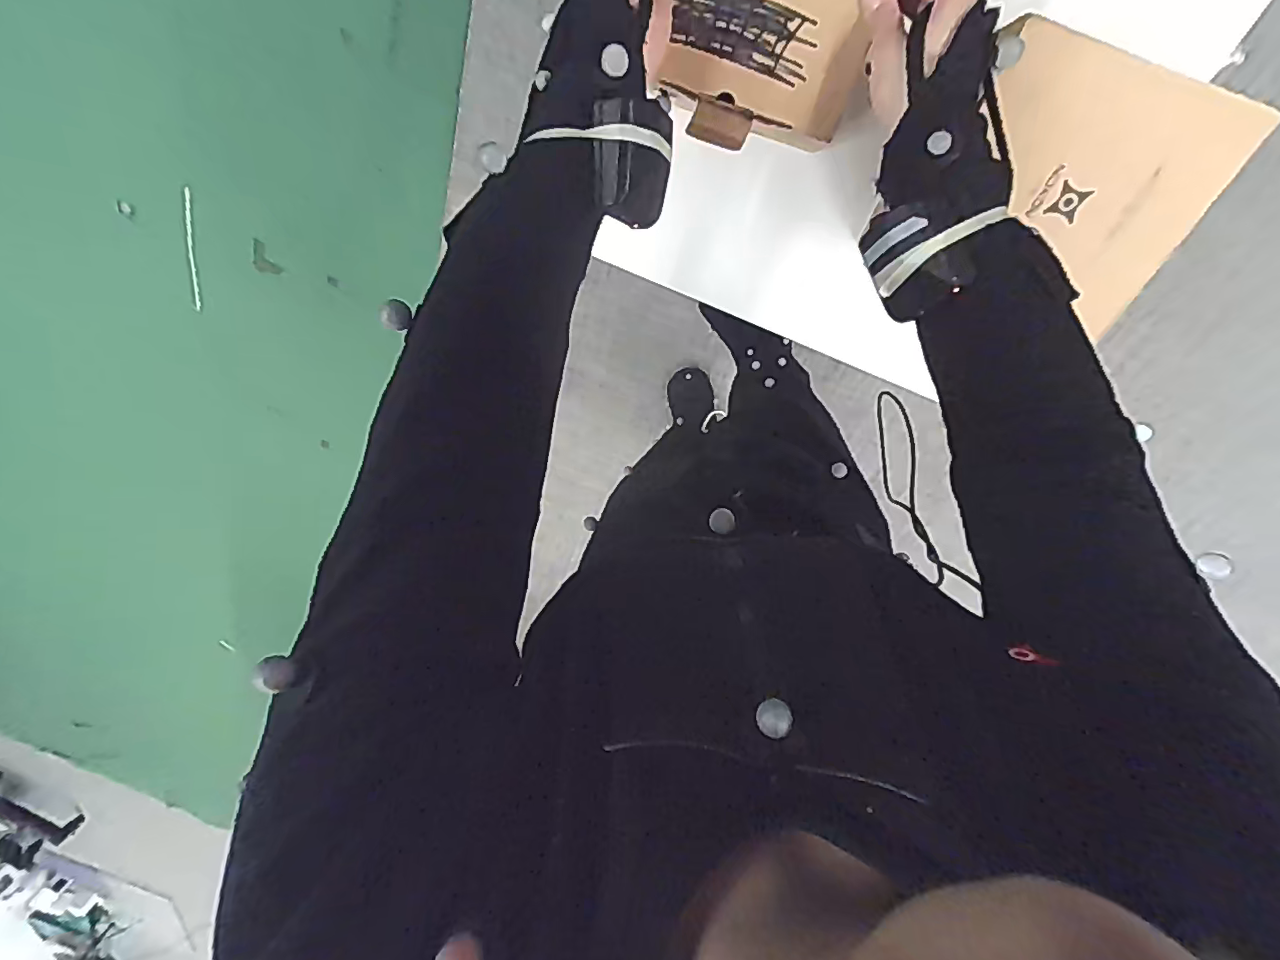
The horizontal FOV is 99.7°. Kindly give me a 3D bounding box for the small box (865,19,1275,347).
[{"bbox_3d":[0.314,-0.236,0.451,0.179,0.176,0.168,21,122,0],"label":"small box"}]
